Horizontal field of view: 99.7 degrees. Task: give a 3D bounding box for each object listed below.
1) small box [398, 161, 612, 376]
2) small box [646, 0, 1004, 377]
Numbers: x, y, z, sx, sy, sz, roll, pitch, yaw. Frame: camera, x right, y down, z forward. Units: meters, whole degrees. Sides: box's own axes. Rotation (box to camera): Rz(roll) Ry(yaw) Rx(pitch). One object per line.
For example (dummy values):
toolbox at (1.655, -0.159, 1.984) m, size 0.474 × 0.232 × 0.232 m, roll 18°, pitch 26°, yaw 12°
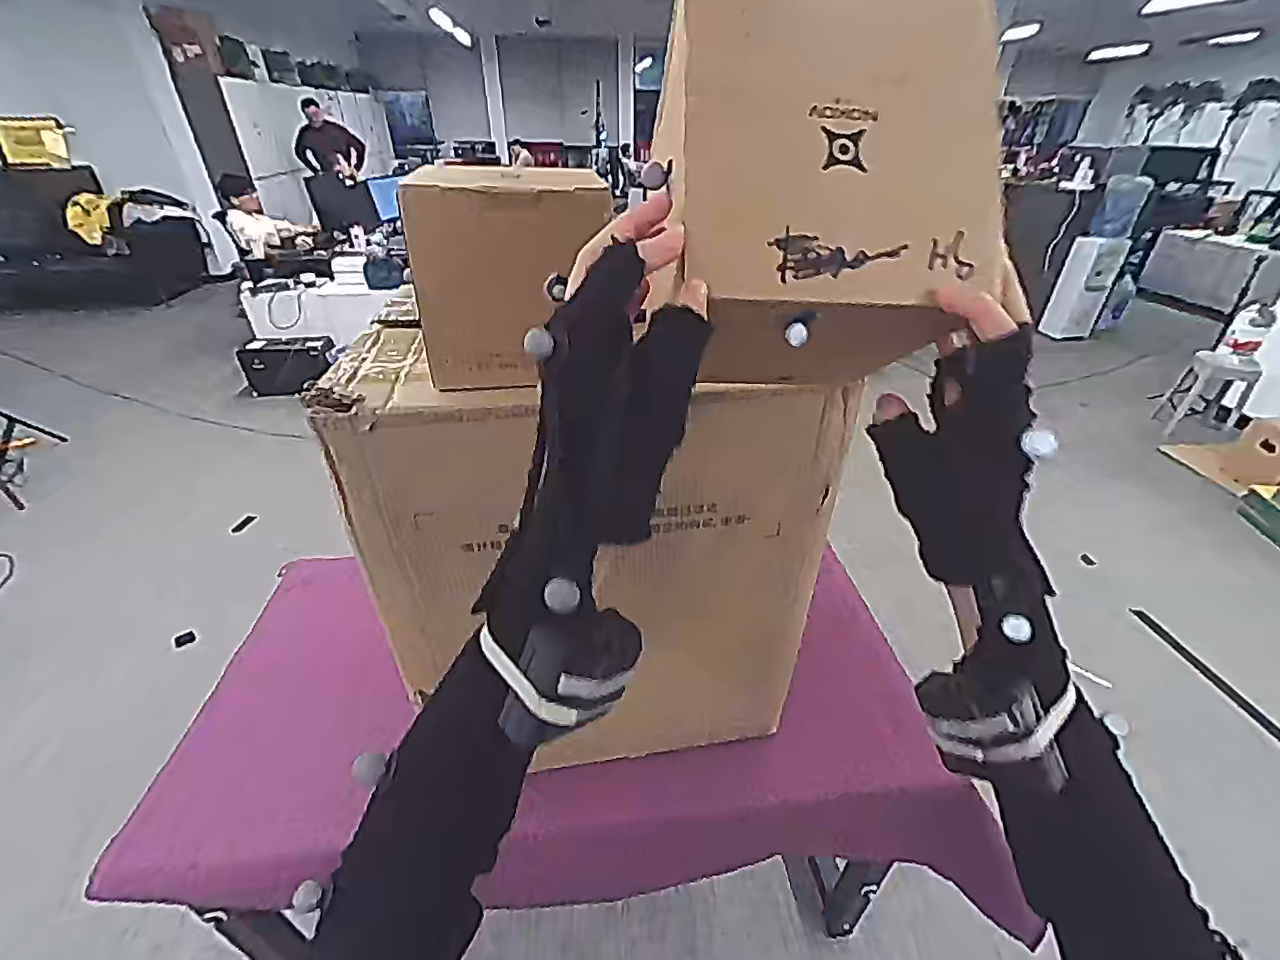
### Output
small box at (-0.117, -0.206, 0.525) m, size 0.168 × 0.176 × 0.179 m, roll -4°, pitch 33°, yaw -10°
small box at (0.094, -0.179, 0.354) m, size 0.168 × 0.179 × 0.176 m, roll 0°, pitch -6°, yaw -6°
